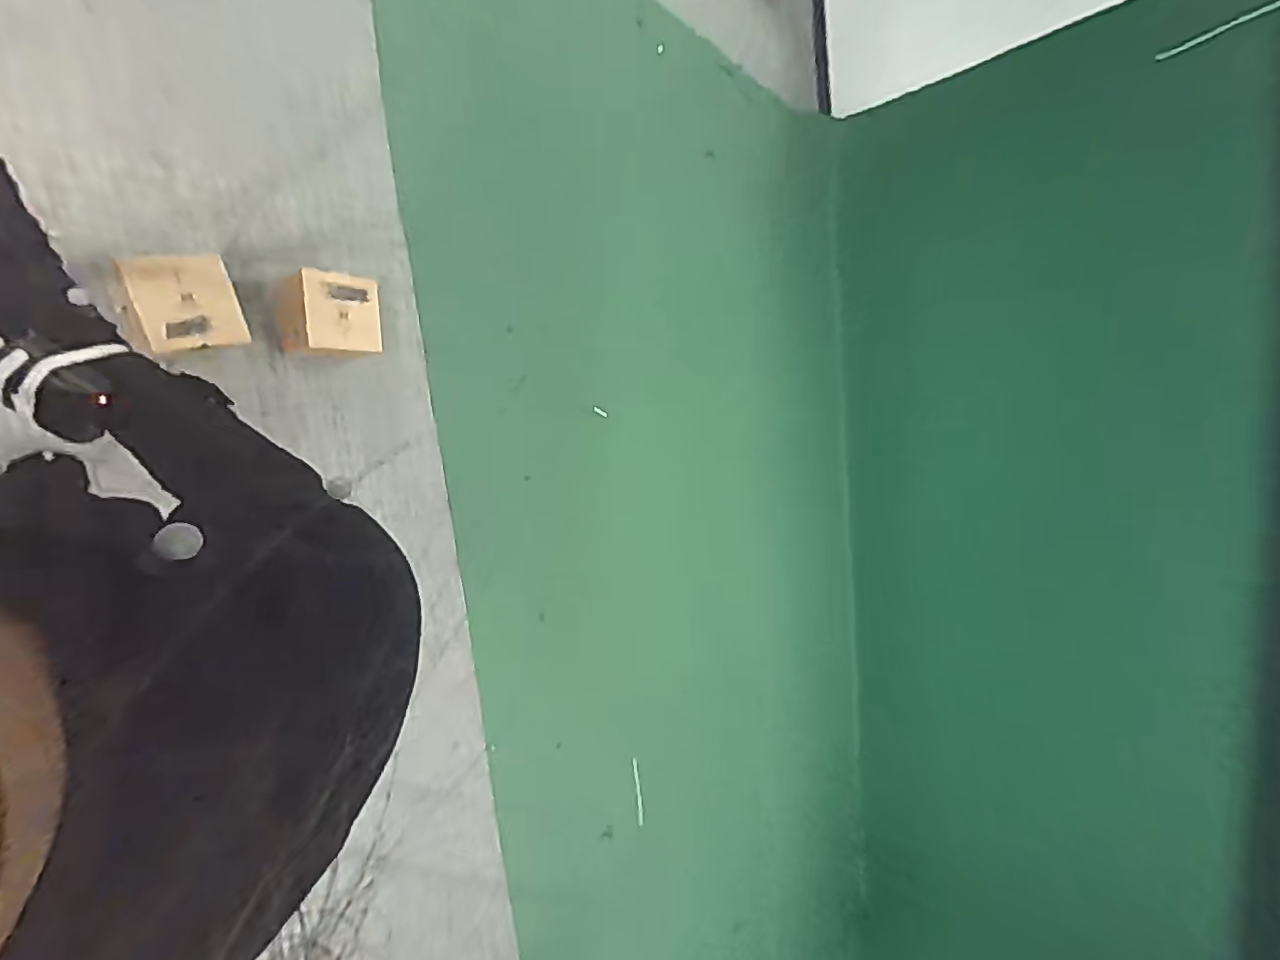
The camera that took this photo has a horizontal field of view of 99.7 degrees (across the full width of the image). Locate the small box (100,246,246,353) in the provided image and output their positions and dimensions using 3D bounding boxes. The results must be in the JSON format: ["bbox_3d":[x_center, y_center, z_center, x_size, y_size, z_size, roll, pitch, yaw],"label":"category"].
[{"bbox_3d":[-0.932,-0.355,1.081,0.168,0.176,0.179,-27,111,-46],"label":"small box"}]
